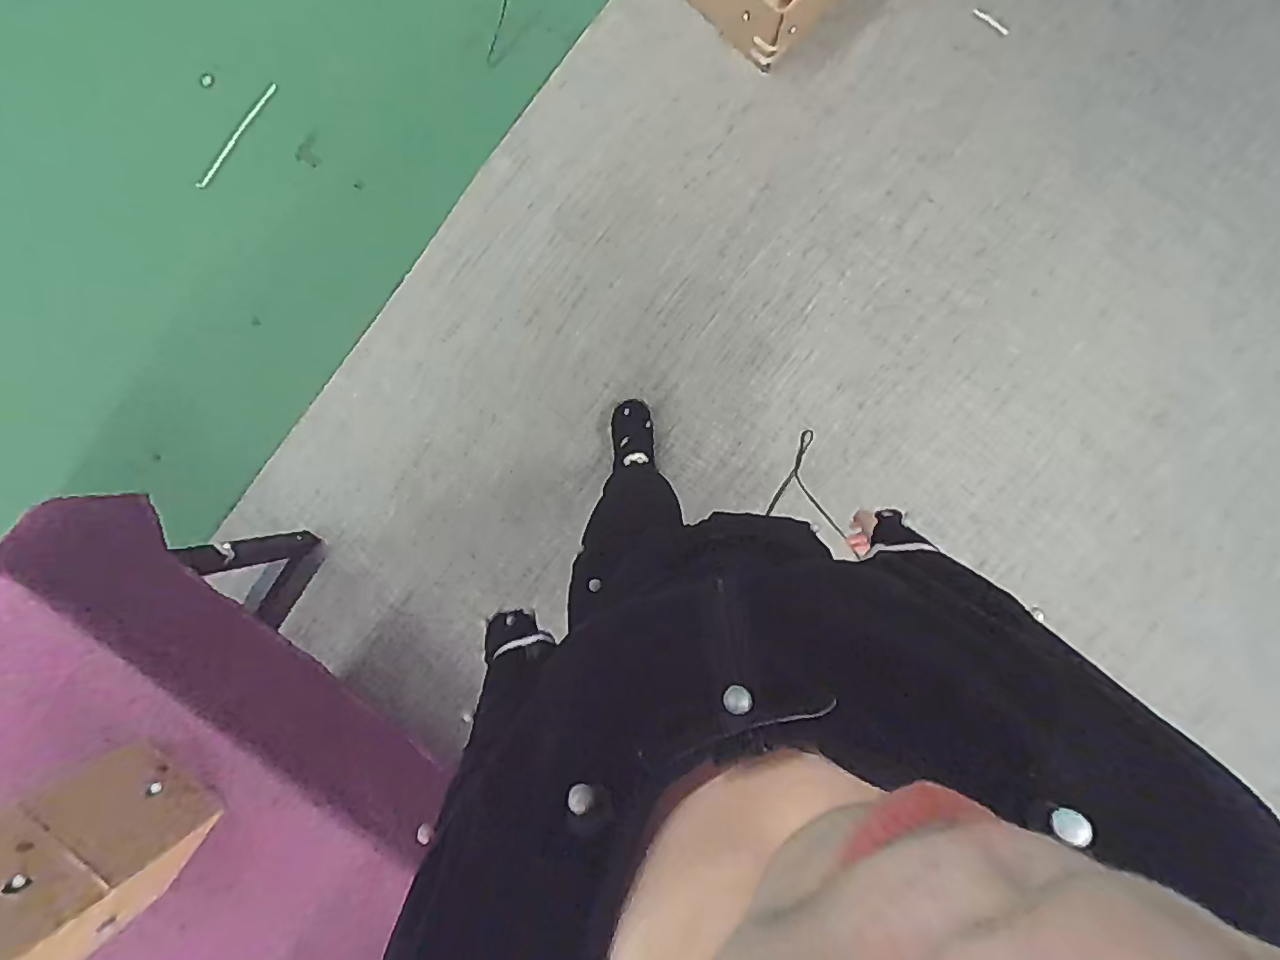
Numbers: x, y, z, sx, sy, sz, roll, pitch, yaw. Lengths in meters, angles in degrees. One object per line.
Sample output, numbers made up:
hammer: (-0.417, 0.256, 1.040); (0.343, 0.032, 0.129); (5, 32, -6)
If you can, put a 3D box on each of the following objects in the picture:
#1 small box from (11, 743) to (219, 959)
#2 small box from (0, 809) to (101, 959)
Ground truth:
small box: (-0.734, 0.505, 0.731); (0.168, 0.176, 0.179); (37, 92, 2)
small box: (-0.746, 0.505, 0.568); (0.168, 0.176, 0.179); (37, 92, 2)
